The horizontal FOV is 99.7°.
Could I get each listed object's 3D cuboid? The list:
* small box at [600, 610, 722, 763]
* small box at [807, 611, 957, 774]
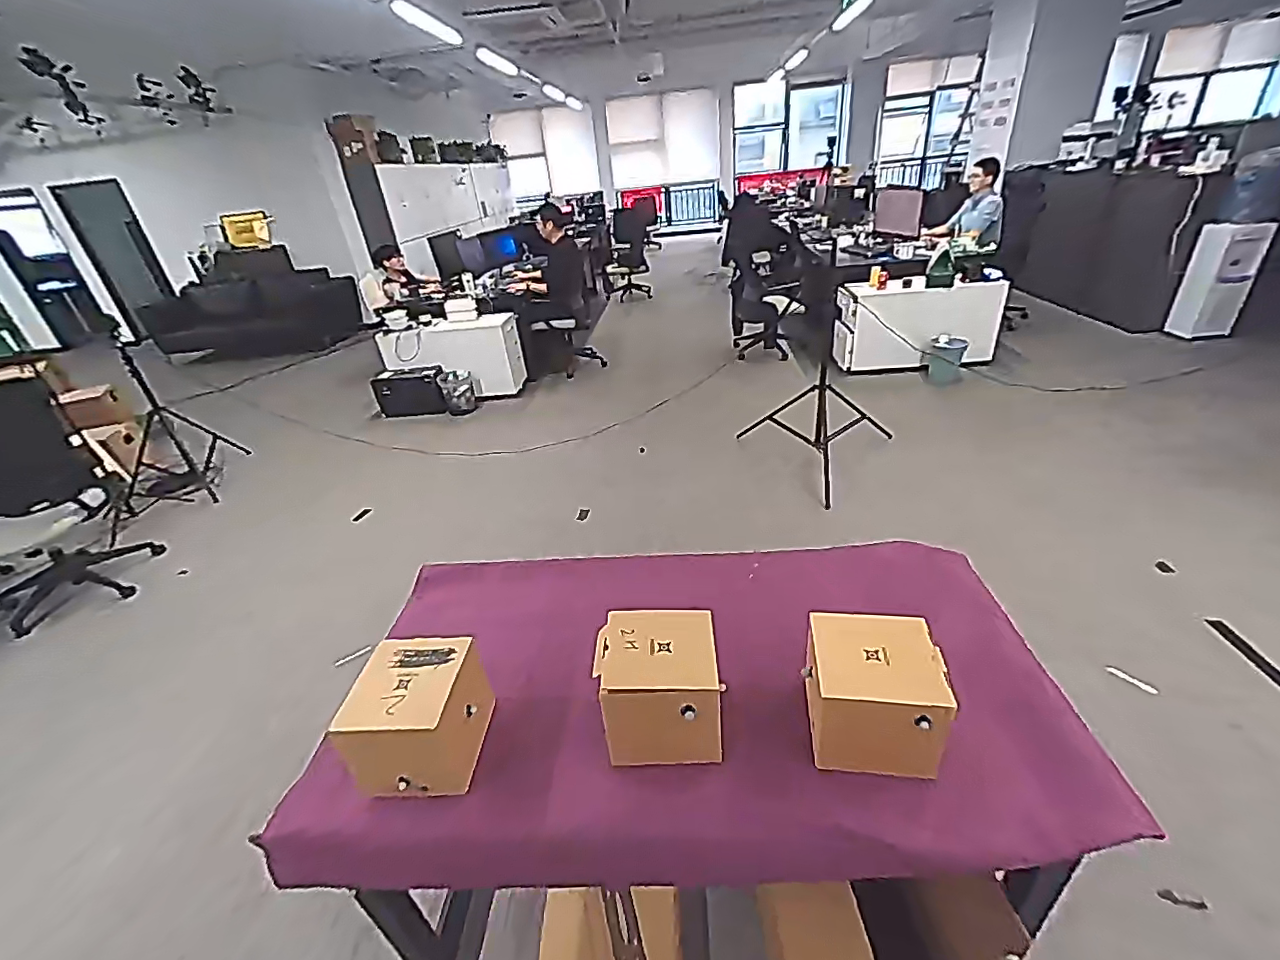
[{"bbox_3d":[0.039,0.333,0.876,0.179,0.176,0.168,-4,28,4],"label":"small box"},{"bbox_3d":[0.355,0.323,0.831,0.179,0.176,0.168,0,31,10],"label":"small box"}]
